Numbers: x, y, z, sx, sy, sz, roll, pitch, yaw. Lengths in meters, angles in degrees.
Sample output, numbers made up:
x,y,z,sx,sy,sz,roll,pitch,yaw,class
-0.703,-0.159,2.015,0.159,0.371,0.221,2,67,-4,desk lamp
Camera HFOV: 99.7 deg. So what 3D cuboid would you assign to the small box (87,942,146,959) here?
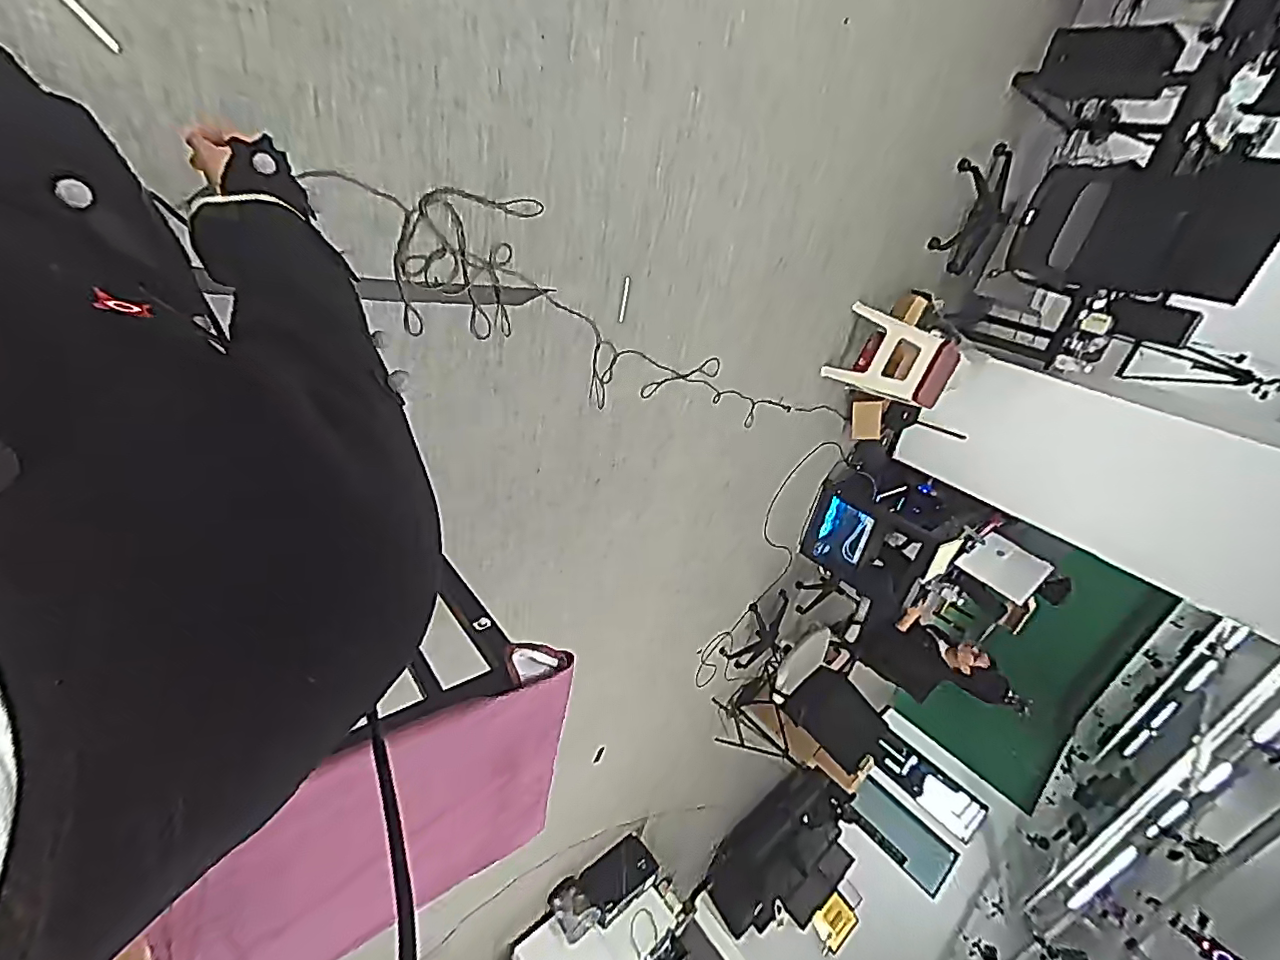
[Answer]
x,y,z,sx,sy,sz,roll,pitch,yaw,class
-0.748,0.773,0.710,0.168,0.176,0.179,-12,126,-42,small box
